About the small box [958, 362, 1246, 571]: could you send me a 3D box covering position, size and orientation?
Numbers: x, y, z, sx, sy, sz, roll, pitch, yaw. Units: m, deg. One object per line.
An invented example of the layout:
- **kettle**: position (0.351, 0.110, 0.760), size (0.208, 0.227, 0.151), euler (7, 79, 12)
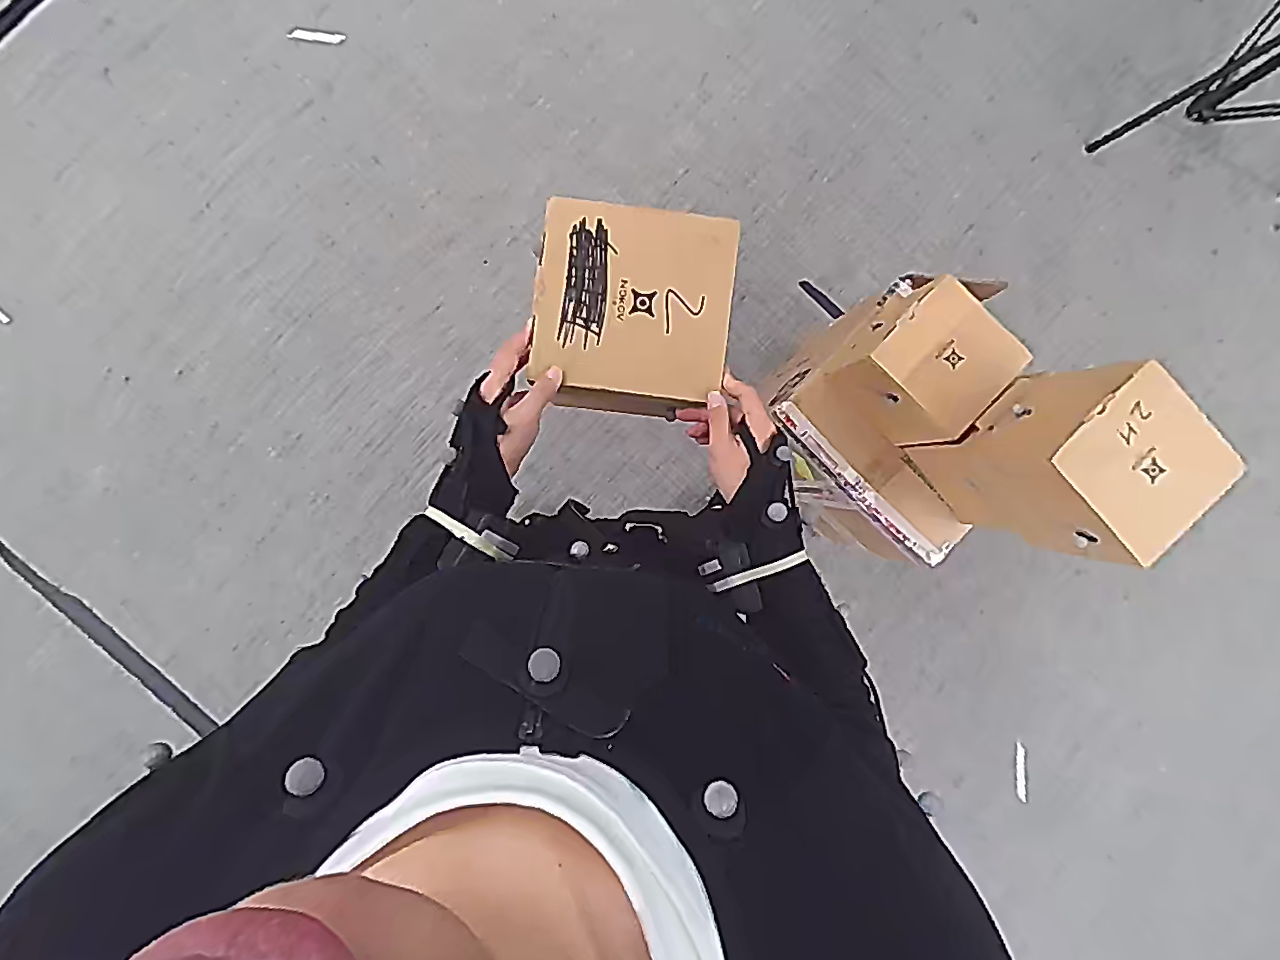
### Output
- **small box**: position (0.554, -0.018, 0.675), size (0.168, 0.176, 0.179), euler (-44, 94, -1)

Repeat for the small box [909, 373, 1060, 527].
- **small box**: position (0.565, -0.037, 0.840), size (0.168, 0.176, 0.179), euler (-40, 94, -1)
